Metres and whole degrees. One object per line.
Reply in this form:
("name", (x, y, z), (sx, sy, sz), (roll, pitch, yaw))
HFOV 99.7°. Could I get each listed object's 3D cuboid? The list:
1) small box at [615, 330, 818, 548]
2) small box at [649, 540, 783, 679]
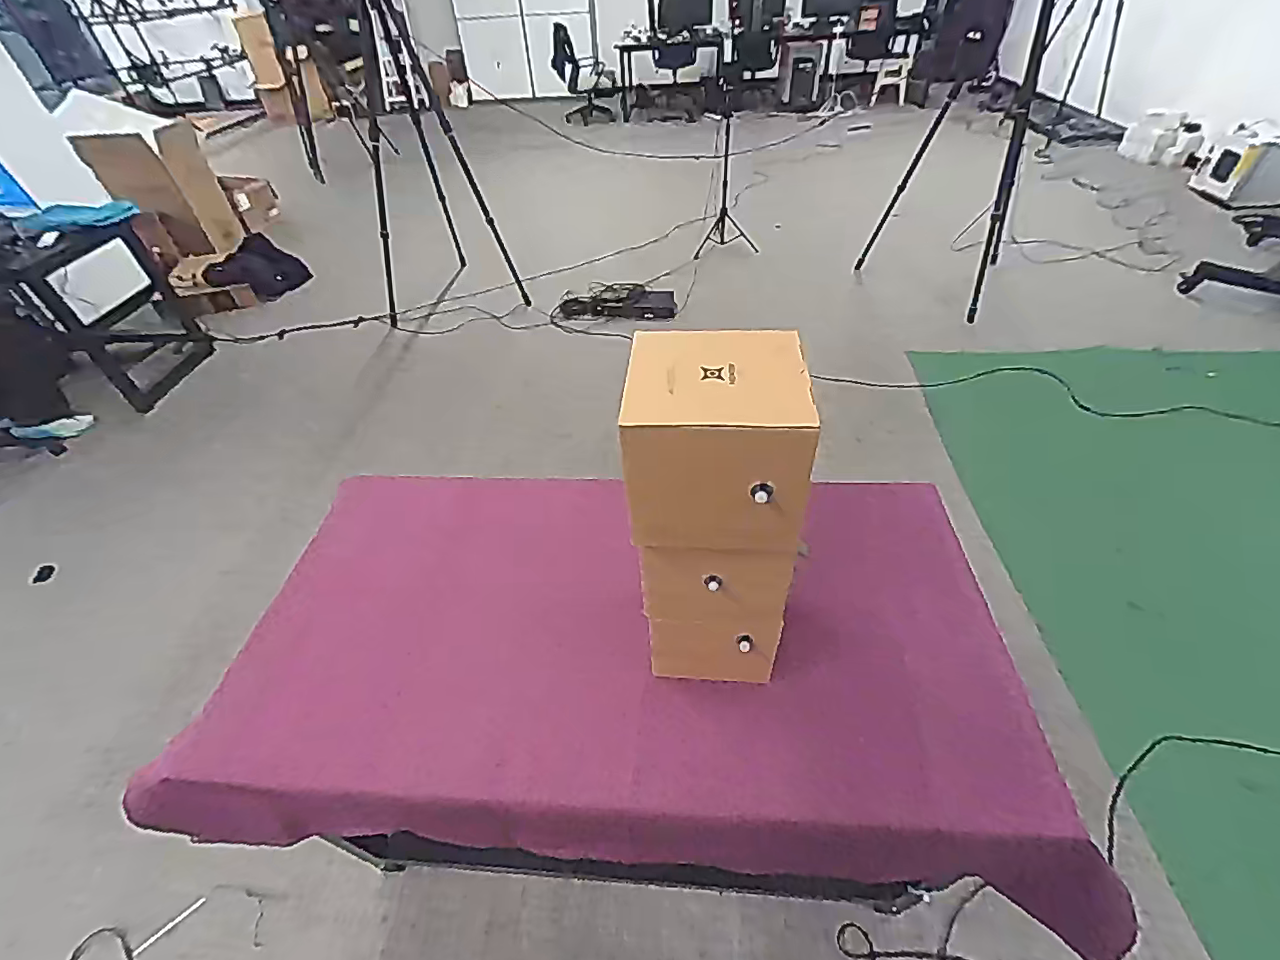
("small box", (0.077, -0.042, 0.574), (0.179, 0.176, 0.168), (1, 44, 7))
("small box", (0.109, 0.183, 0.811), (0.179, 0.176, 0.168), (2, 44, 6))
